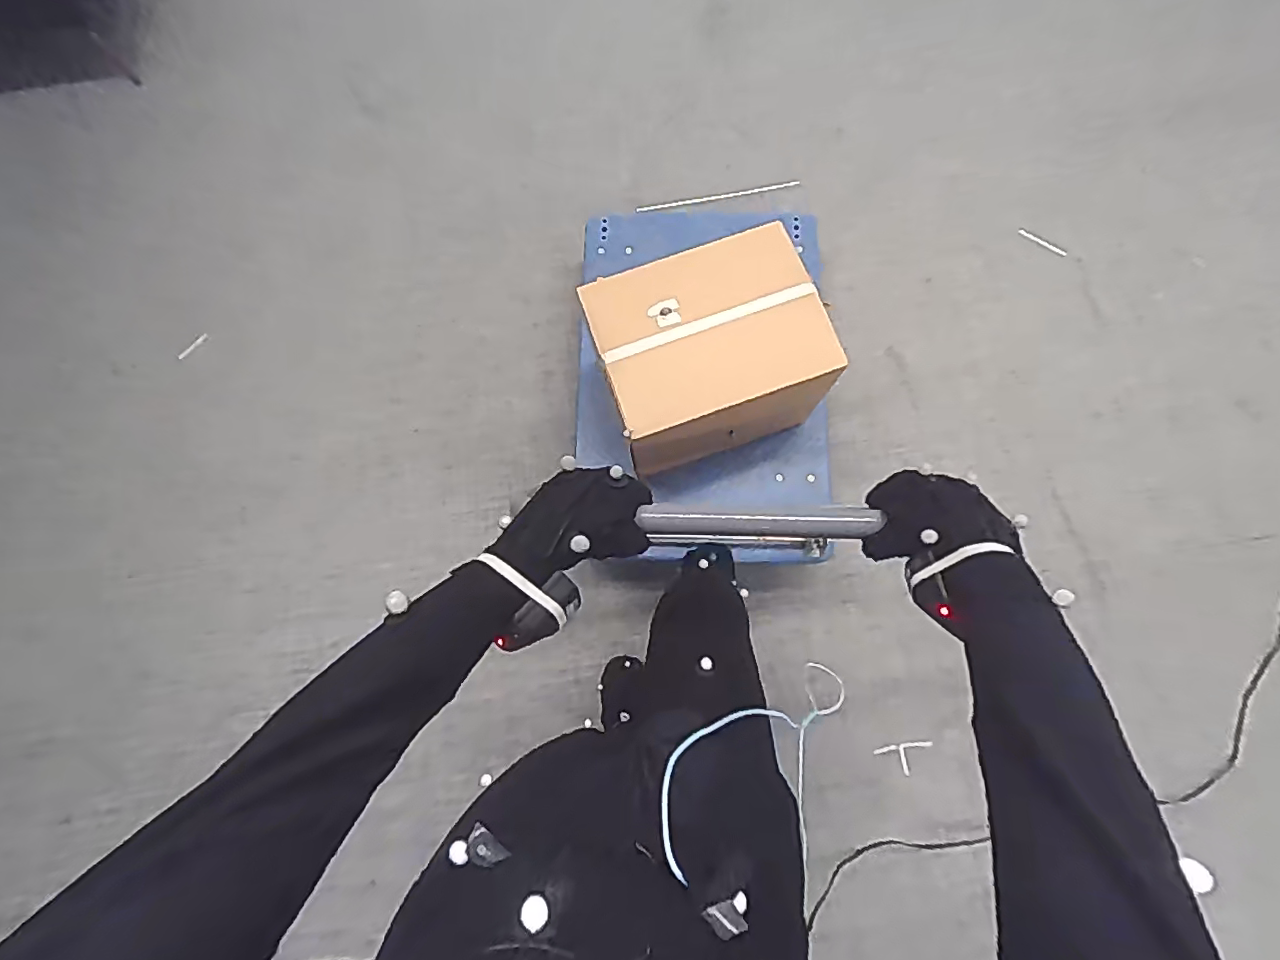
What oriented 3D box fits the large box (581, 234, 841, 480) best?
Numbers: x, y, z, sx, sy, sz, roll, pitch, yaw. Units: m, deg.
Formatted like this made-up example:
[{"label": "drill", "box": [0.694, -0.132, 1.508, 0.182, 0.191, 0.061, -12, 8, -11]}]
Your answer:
[{"label": "large box", "box": [0.132, -0.230, 1.128, 0.408, 0.320, 0.320, -20, 77, -2]}]
